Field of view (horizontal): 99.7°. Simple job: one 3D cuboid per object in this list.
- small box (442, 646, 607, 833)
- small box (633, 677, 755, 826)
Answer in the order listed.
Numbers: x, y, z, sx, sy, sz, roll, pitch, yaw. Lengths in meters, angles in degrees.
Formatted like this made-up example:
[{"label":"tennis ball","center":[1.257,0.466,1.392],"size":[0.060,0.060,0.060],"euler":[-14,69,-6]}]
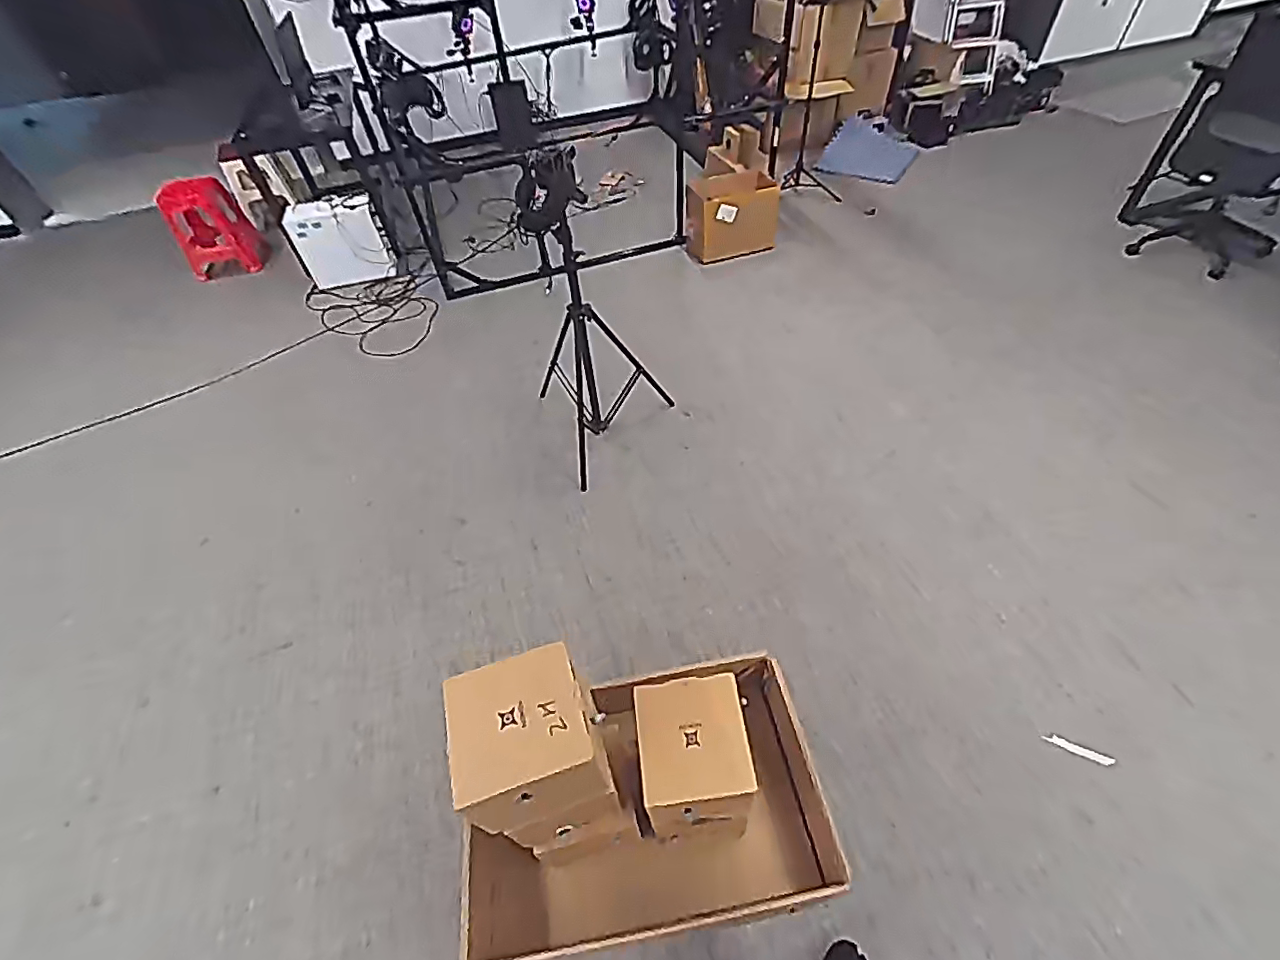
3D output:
[{"label":"small box","center":[-0.157,0.365,0.754],"size":[0.179,0.176,0.168],"euler":[-16,50,-9]},{"label":"small box","center":[0.086,0.446,0.879],"size":[0.168,0.176,0.179],"euler":[-9,48,0]}]
